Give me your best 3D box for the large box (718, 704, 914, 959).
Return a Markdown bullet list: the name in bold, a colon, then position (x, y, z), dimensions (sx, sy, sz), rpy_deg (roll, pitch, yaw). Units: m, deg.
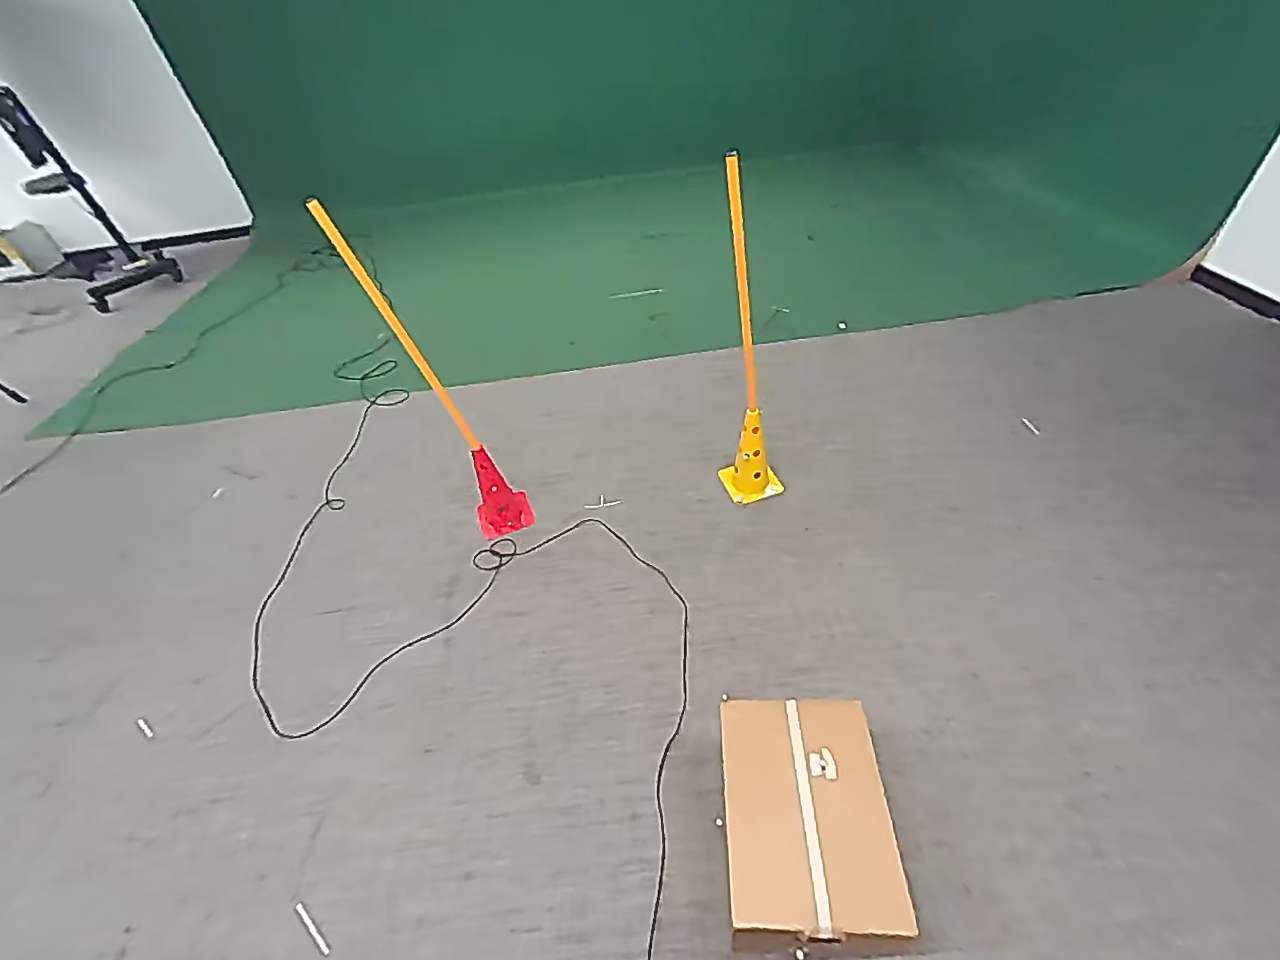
- **large box**: position (0.338, 0.747, 1.165), dimensions (0.320, 0.320, 0.408), rpy_deg (-2, 43, 6)
